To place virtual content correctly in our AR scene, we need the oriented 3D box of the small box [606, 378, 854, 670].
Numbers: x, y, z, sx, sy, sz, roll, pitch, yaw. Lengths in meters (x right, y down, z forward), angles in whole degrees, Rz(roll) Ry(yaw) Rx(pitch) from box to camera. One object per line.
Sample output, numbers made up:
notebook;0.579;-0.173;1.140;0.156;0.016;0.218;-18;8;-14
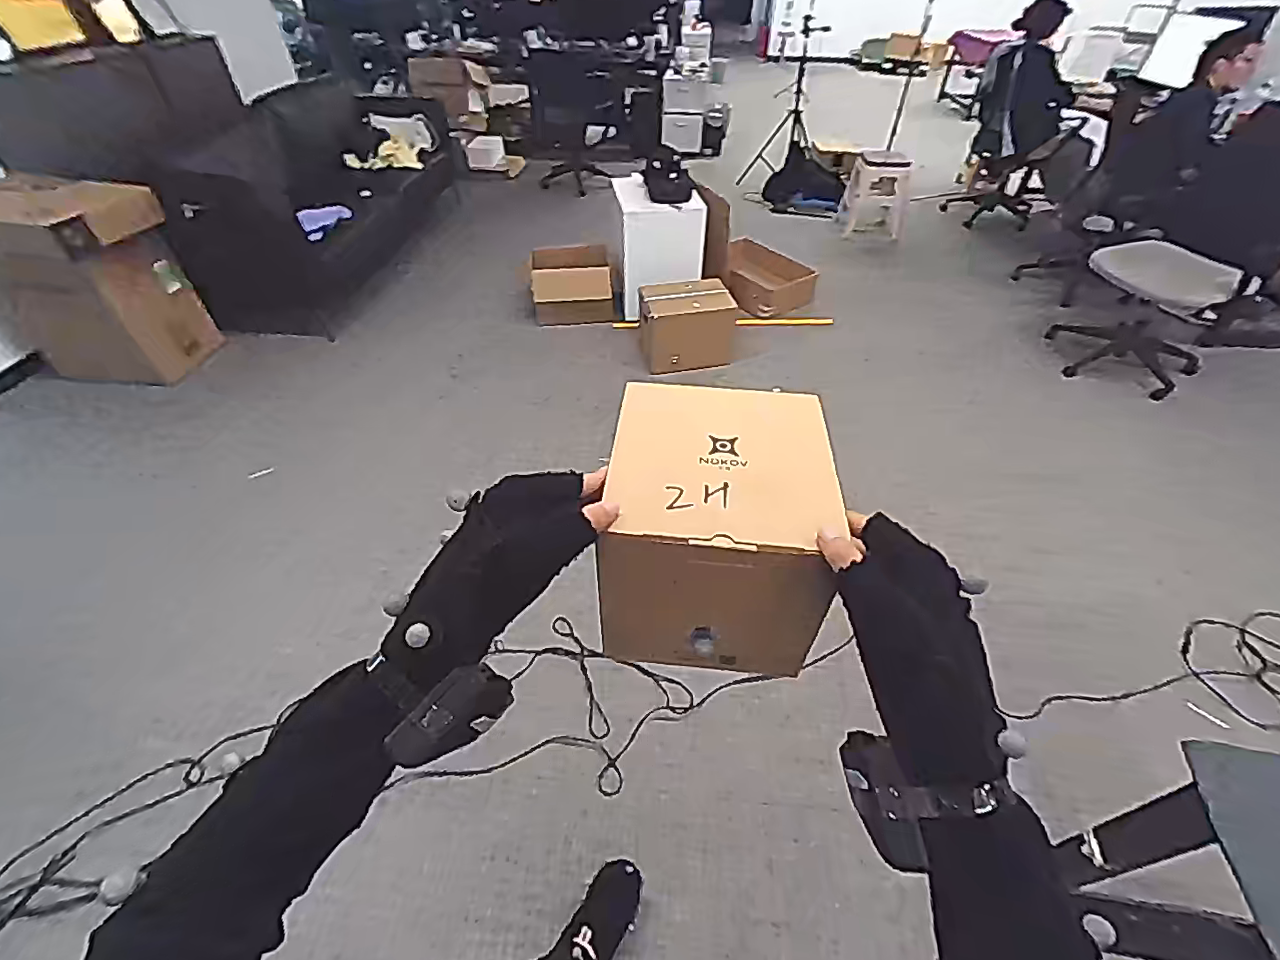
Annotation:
small box;0.065;0.035;0.466;0.168;0.176;0.179;5;44;4
